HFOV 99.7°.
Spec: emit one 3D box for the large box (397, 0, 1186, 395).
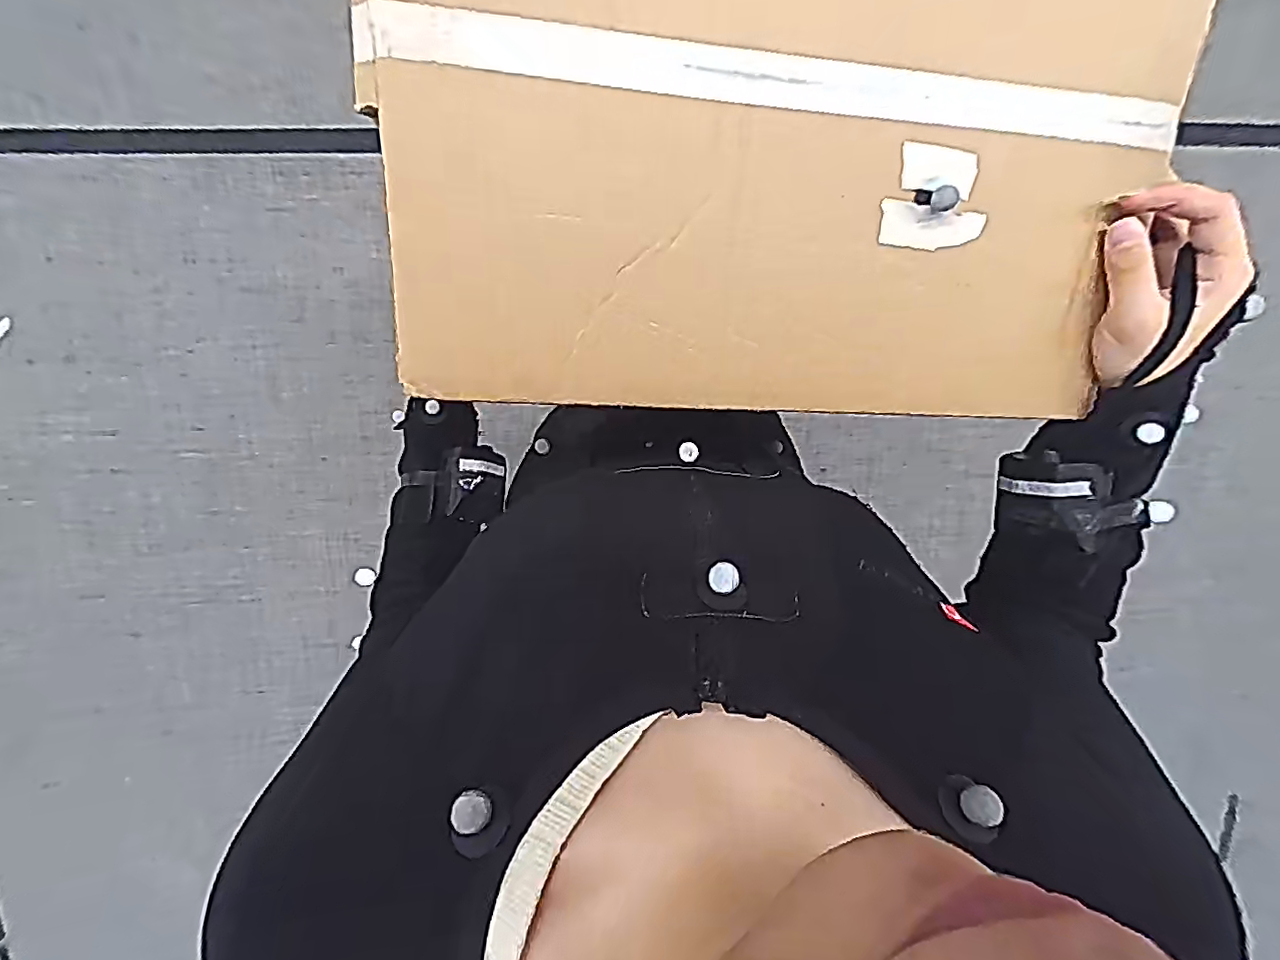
[{"bbox_3d":[0.061,-0.241,0.409,0.408,0.320,0.320,0,108,-11],"label":"large box"}]
